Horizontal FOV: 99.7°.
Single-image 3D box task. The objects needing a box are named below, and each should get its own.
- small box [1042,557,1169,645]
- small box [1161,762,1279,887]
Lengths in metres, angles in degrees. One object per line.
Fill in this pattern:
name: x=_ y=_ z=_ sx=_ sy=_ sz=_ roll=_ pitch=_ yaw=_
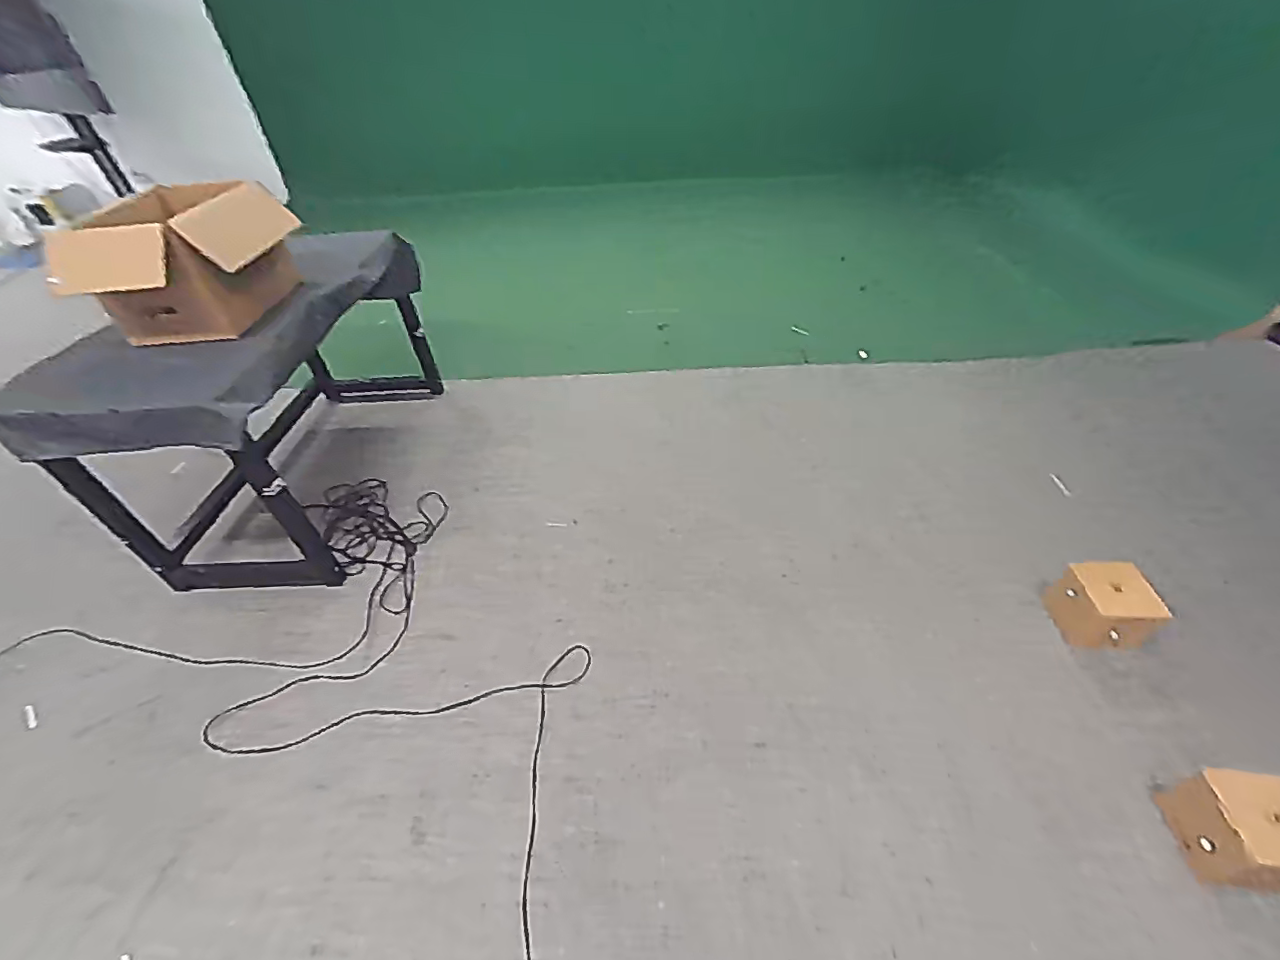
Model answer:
small box: x=1.234 y=0.326 z=1.450 sx=0.168 sy=0.176 sz=0.179 roll=-1 pitch=43 yaw=5
small box: x=1.199 y=0.683 z=1.069 sx=0.179 sy=0.176 sz=0.168 roll=3 pitch=45 yaw=7
